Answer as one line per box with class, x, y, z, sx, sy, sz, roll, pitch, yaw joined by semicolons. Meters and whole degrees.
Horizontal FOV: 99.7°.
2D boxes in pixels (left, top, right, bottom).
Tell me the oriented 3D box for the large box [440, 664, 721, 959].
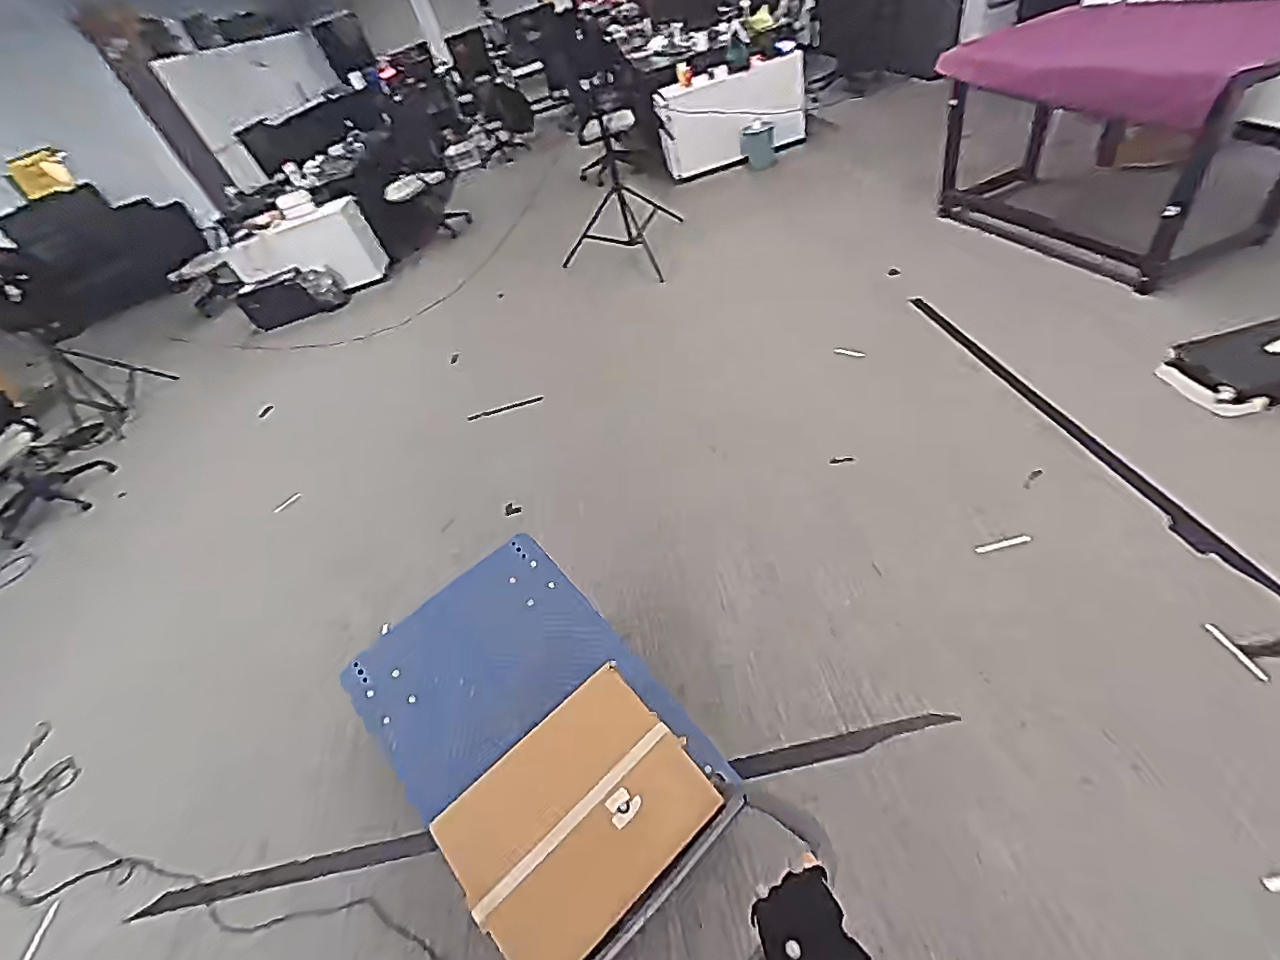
large box;-0.099;0.648;1.063;0.408;0.320;0.320;-39;67;-20
